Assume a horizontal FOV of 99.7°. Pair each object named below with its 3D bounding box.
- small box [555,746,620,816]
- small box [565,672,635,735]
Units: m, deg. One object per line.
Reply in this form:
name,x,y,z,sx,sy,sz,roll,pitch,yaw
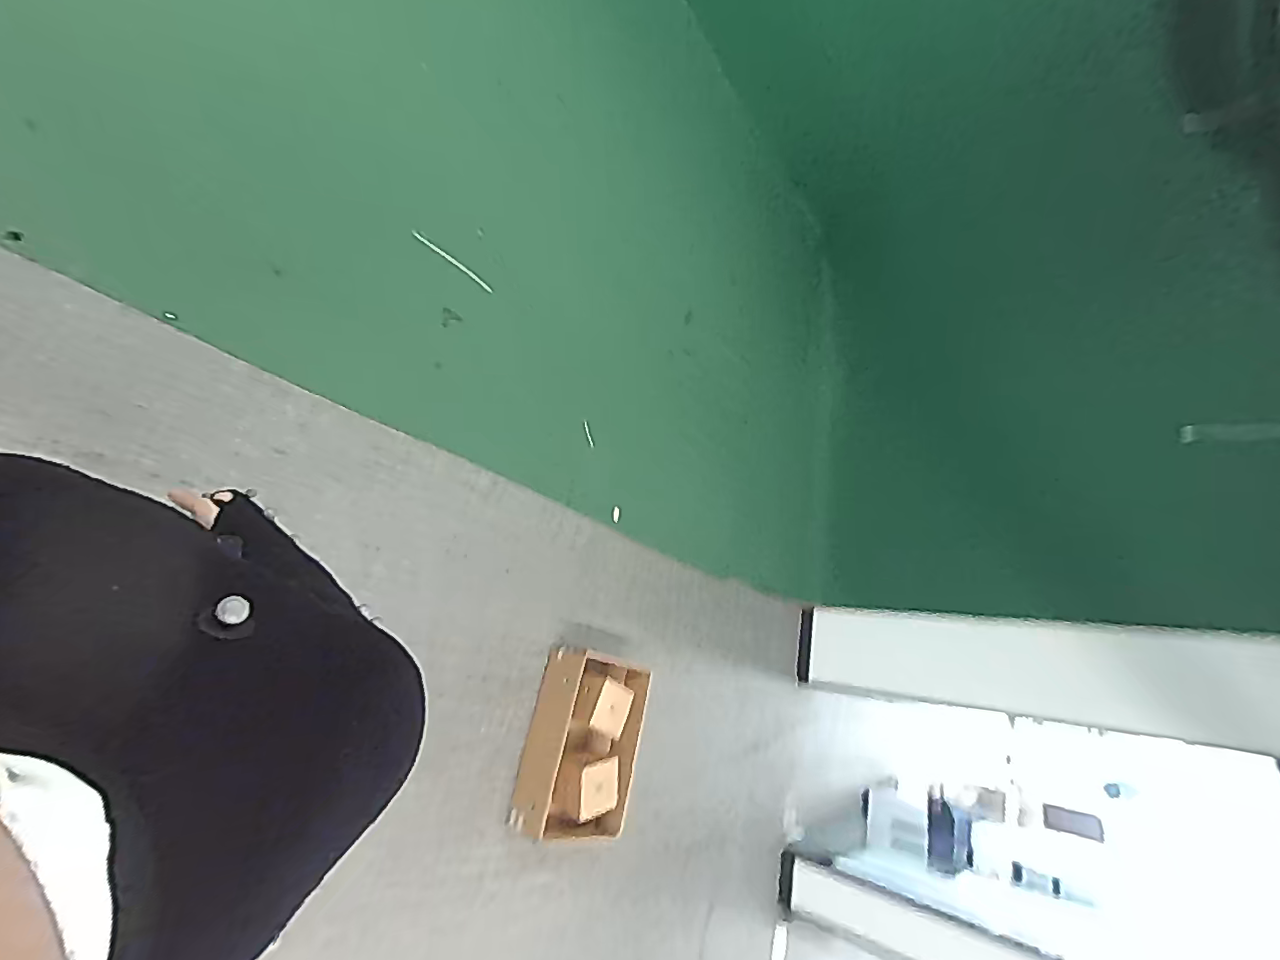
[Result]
small box,-0.193,1.085,1.964,0.179,0.176,0.168,11,76,-47
small box,-0.153,0.838,2.044,0.179,0.176,0.168,44,55,-36
